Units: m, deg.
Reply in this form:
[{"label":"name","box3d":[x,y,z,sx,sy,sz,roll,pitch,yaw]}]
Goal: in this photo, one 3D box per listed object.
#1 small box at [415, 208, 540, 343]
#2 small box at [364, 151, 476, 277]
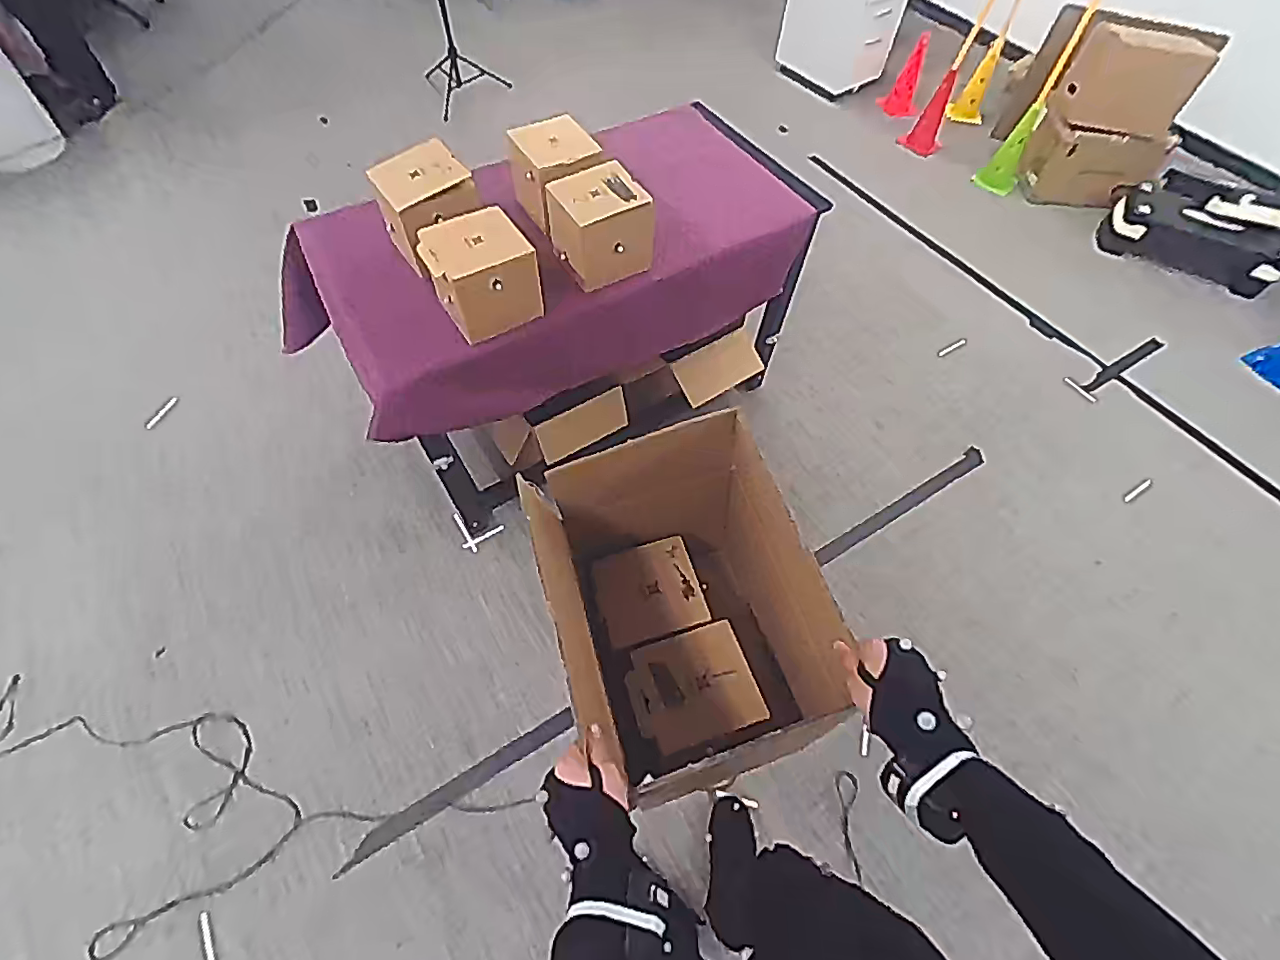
[{"label":"small box","box3d":[-0.323,-0.412,1.105,0.179,0.176,0.168,-29,66,-18]},{"label":"small box","box3d":[-0.467,-0.583,1.197,0.179,0.176,0.168,-31,66,-20]}]
